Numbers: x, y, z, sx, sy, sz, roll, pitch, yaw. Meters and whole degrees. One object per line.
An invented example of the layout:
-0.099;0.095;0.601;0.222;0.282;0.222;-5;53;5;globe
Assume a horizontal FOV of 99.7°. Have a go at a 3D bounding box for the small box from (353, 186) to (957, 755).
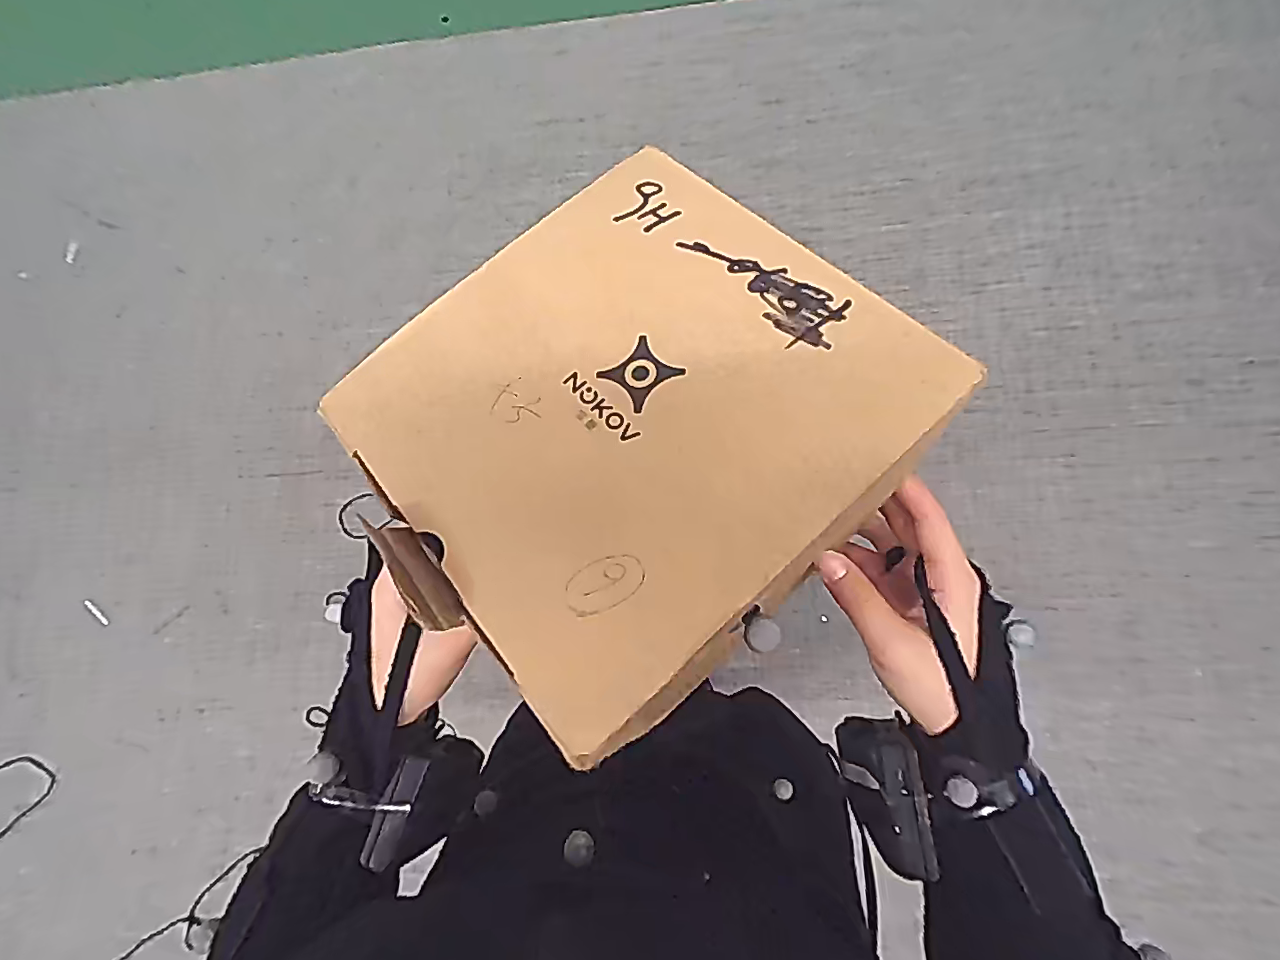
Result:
0.008;0.005;0.277;0.179;0.176;0.168;-42;69;-8;small box
